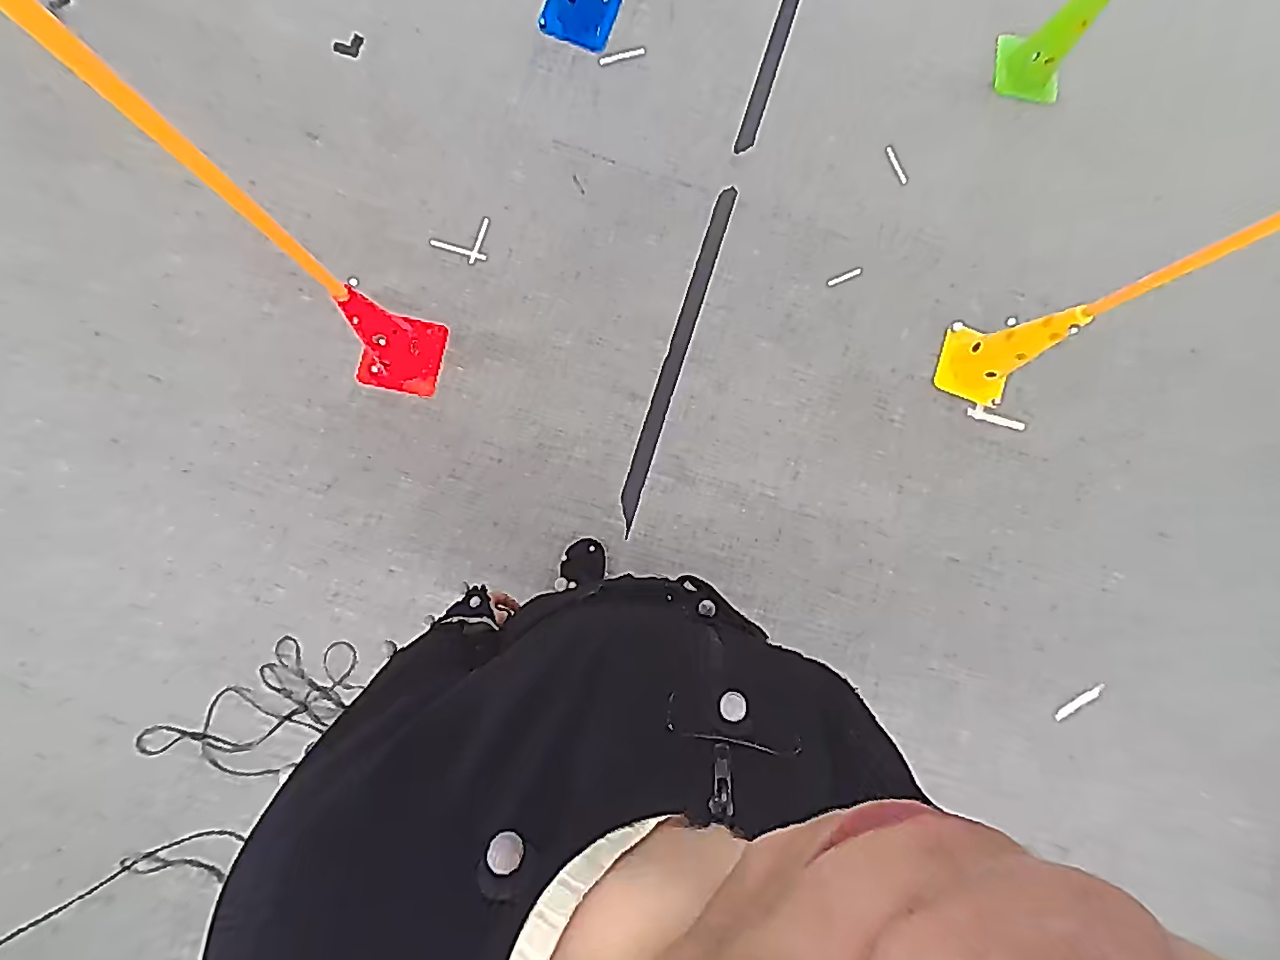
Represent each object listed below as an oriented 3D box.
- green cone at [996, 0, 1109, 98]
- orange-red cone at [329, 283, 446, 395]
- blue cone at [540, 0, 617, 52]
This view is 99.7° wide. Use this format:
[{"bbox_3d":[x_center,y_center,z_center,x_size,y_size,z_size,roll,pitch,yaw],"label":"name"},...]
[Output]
[{"bbox_3d":[1.197,-1.284,1.478,0.200,0.368,0.202,7,85,-3],"label":"green cone"},{"bbox_3d":[-0.597,-0.346,1.219,0.199,0.360,0.198,13,83,-4],"label":"orange-red cone"},{"bbox_3d":[-0.163,-1.355,1.390,0.193,0.380,0.192,20,83,-2],"label":"blue cone"}]
